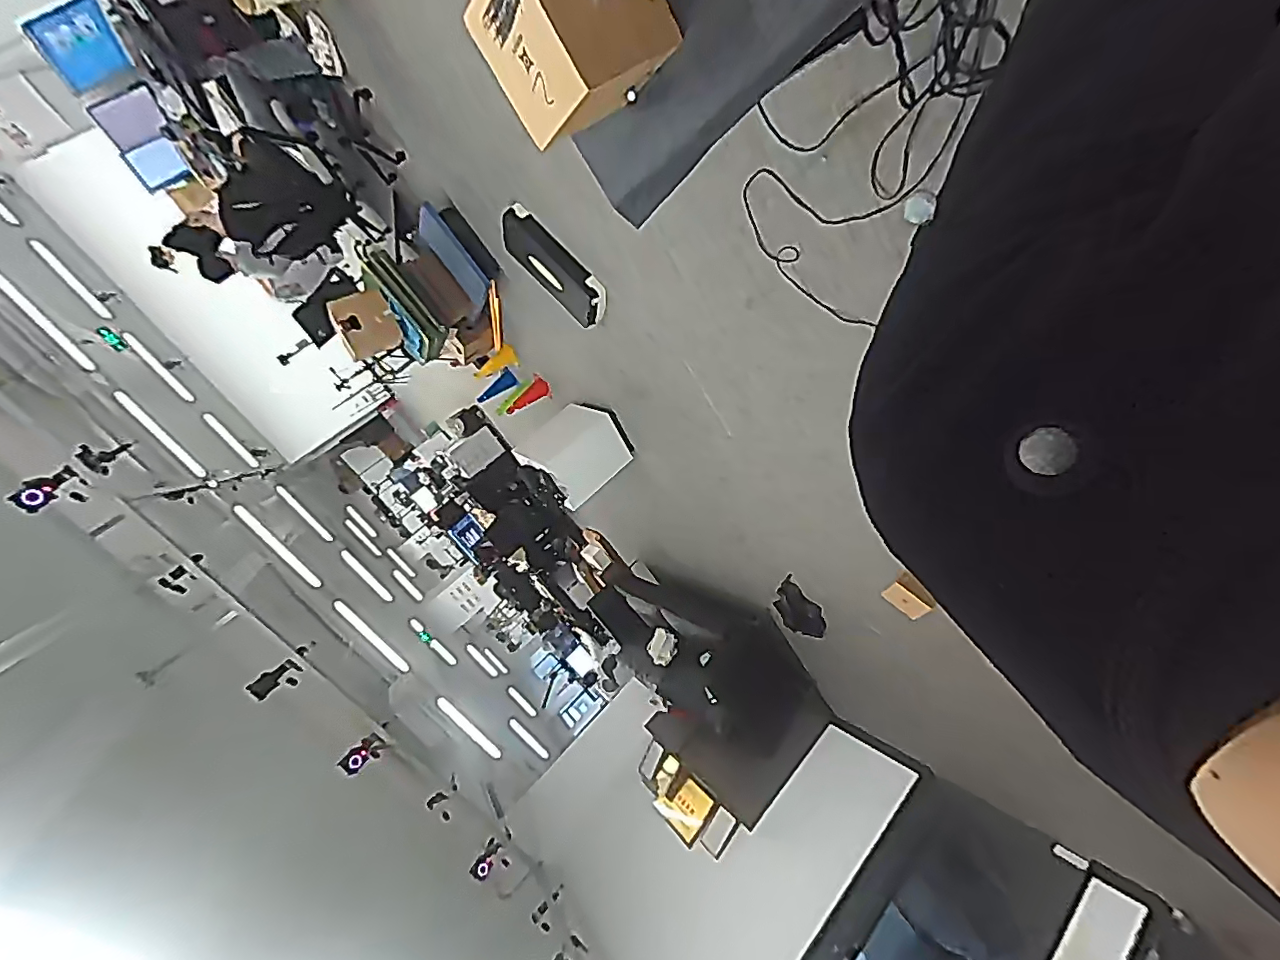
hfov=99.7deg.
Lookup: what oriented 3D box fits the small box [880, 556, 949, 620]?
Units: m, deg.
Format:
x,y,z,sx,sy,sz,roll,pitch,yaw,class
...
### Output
x,y,z,sx,sy,sz,roll,pitch,yaw,class
1.144,0.450,2.249,0.168,0.176,0.179,39,158,20,small box
